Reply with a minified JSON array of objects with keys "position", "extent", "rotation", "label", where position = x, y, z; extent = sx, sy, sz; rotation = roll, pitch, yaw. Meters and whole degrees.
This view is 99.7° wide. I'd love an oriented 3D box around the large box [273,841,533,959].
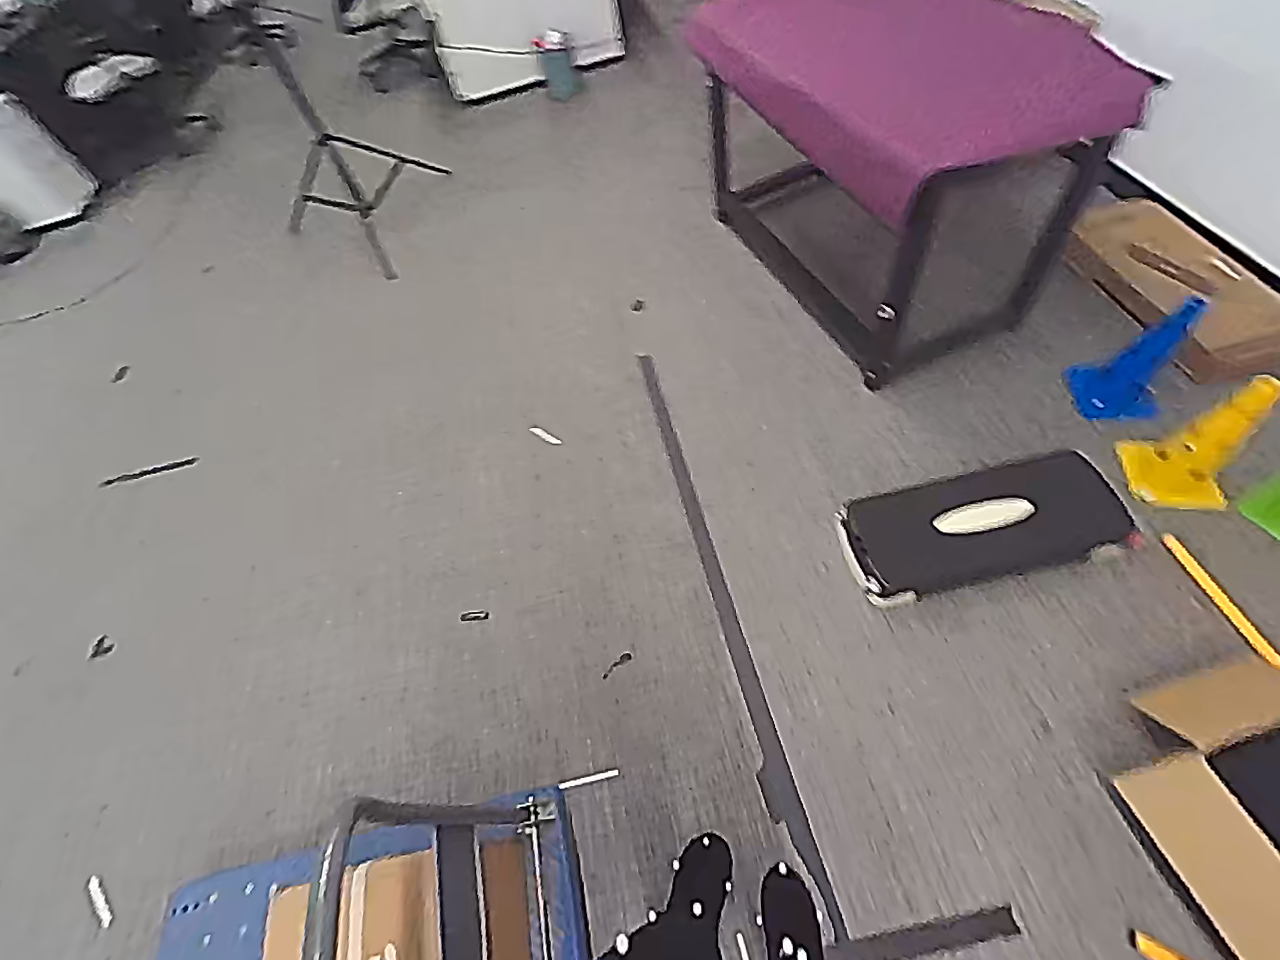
[{"position":[-0.369,0.868,0.889],"extent":[0.320,0.320,0.408],"rotation":[-15,55,1],"label":"large box"}]
